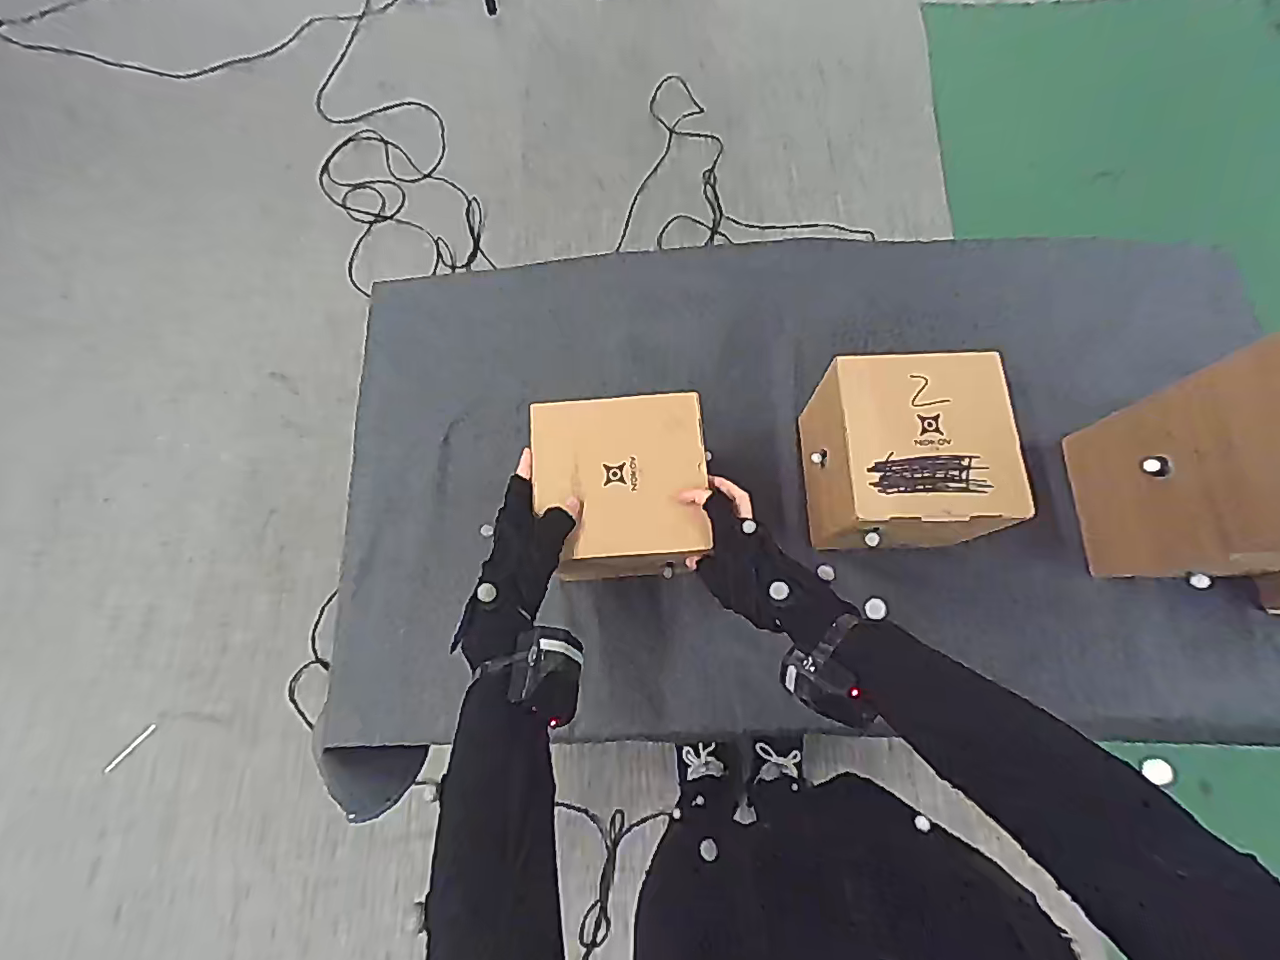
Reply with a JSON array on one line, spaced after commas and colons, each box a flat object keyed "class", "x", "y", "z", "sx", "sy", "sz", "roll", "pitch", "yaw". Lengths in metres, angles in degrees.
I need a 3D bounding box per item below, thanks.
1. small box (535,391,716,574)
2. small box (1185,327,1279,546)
[{"class": "small box", "x": -0.015, "y": 0.012, "z": 0.614, "sx": 0.179, "sy": 0.176, "sz": 0.168, "roll": -4, "pitch": 73, "yaw": 1}, {"class": "small box", "x": 0.605, "y": -0.041, "z": 0.428, "sx": 0.168, "sy": 0.176, "sz": 0.179, "roll": 1, "pitch": 73, "yaw": 3}]
